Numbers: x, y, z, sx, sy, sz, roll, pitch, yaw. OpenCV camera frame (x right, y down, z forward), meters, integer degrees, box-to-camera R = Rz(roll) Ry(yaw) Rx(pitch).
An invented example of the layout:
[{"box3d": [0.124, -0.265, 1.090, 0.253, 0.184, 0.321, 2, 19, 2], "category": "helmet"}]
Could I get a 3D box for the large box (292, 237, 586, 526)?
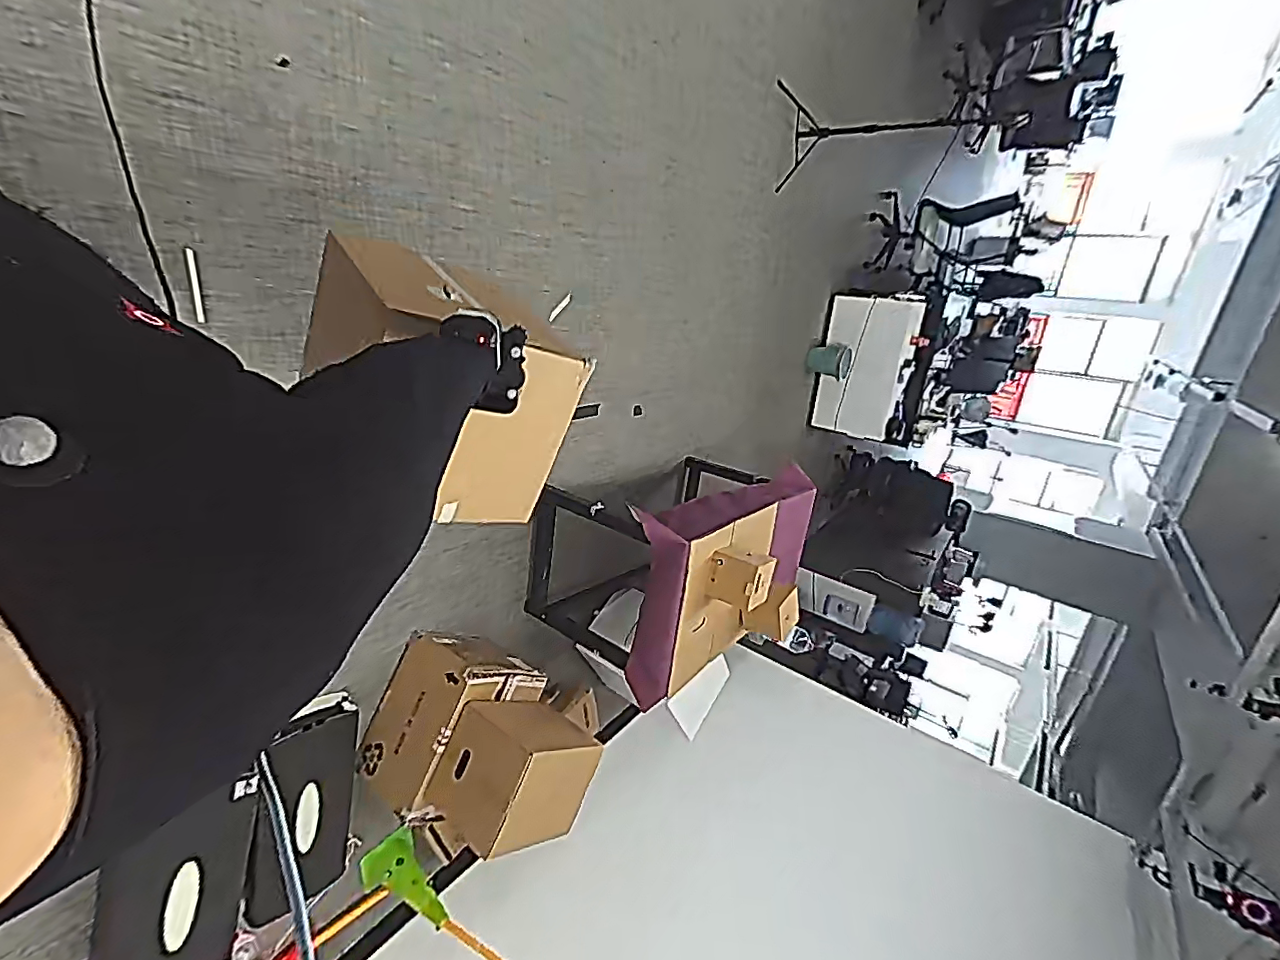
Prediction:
[{"box3d": [-0.370, -0.163, 0.943, 0.320, 0.408, 0.320, 6, 120, -44], "category": "large box"}]
